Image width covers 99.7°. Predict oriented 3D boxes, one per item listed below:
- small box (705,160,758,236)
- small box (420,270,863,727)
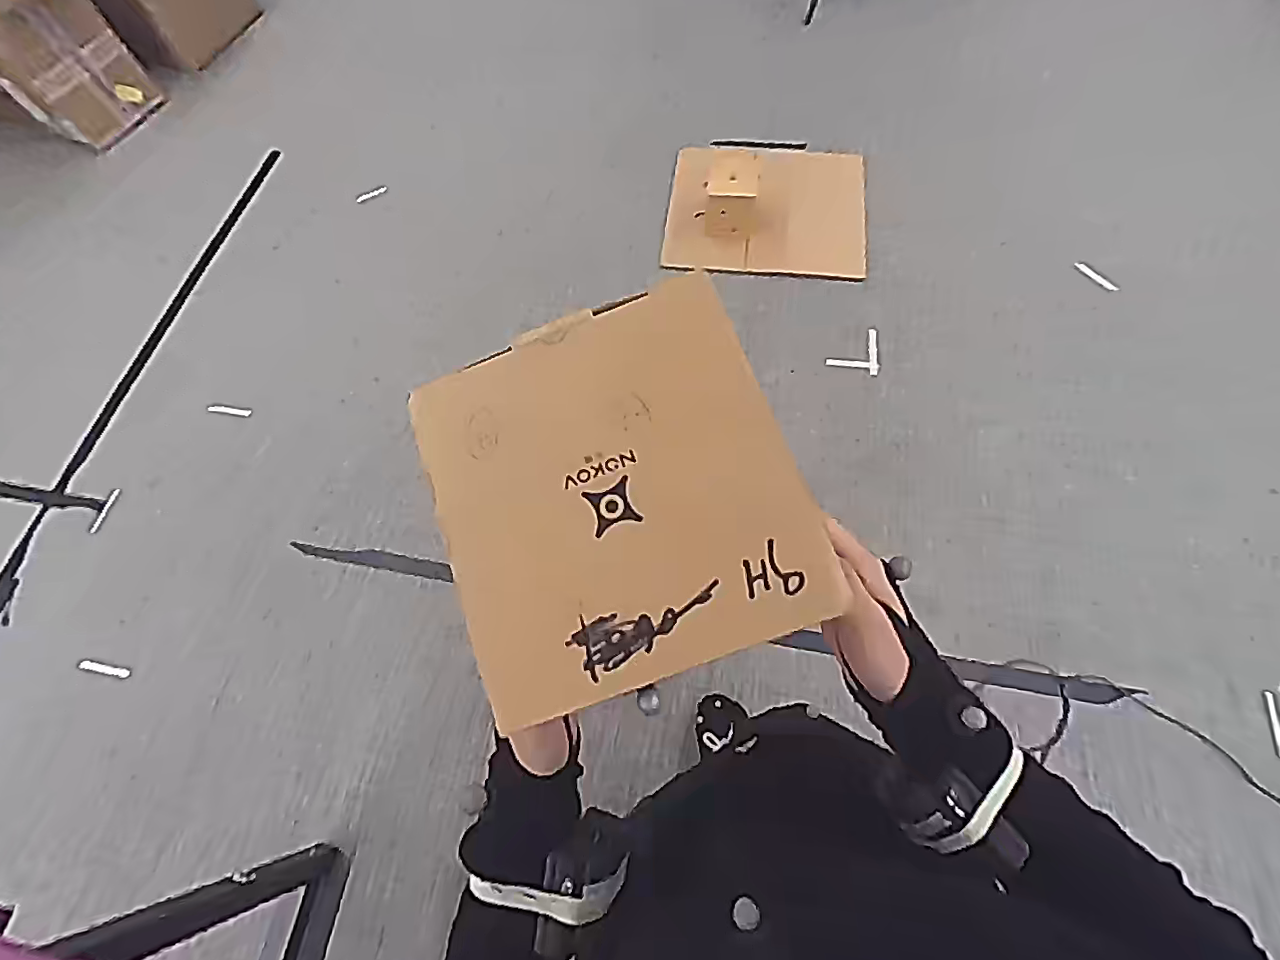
[{"bbox_3d":[0.313,-0.969,1.864,0.168,0.176,0.179,4,67,6],"label":"small box"},{"bbox_3d":[0.003,0.019,0.325,0.168,0.176,0.179,-21,75,6],"label":"small box"}]
